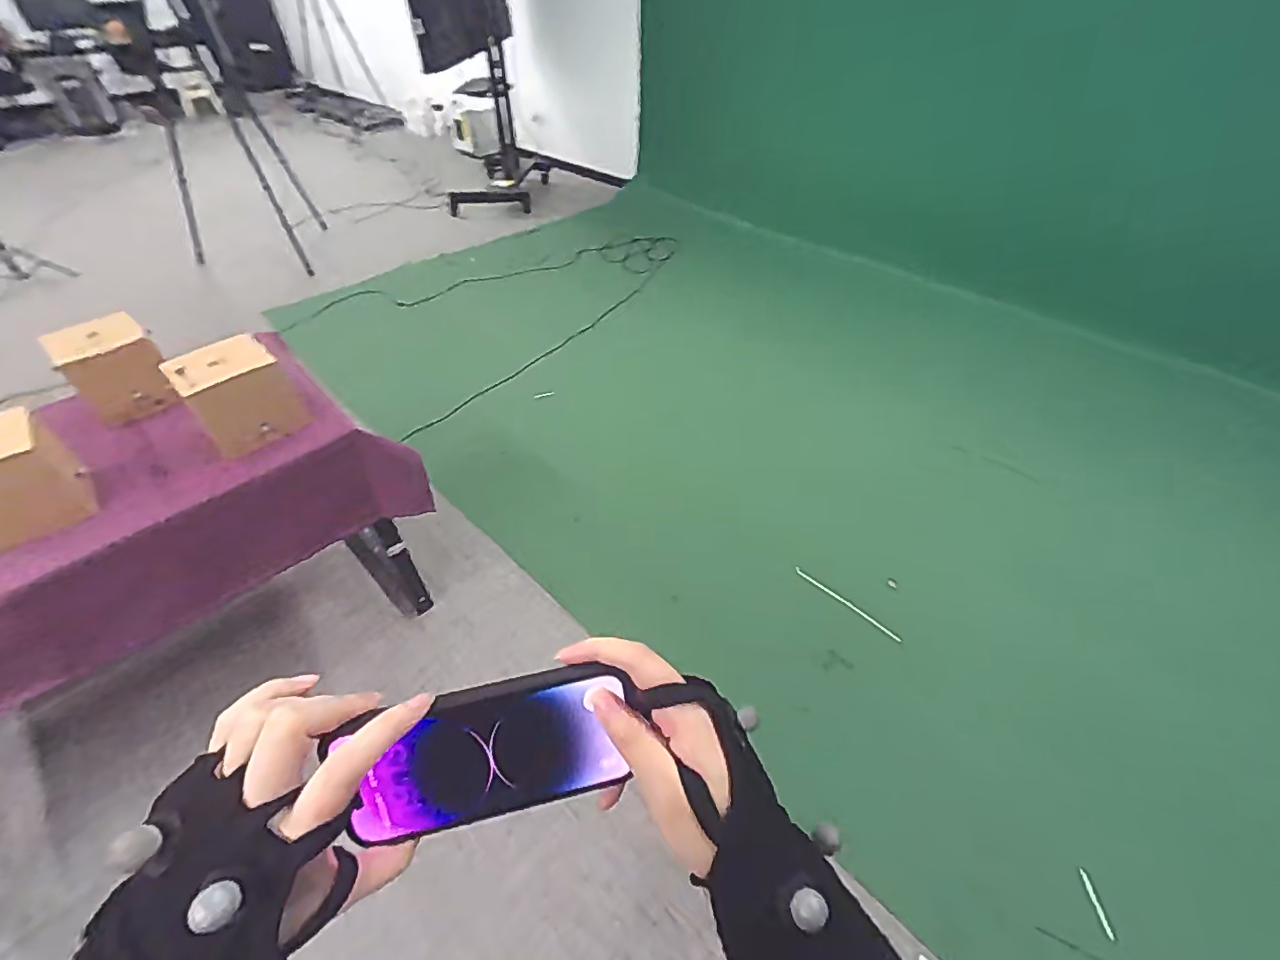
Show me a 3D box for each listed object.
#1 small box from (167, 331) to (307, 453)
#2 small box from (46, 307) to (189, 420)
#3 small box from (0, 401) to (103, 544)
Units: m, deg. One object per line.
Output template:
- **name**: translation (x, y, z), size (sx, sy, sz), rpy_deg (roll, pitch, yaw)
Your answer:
- **small box**: translation (-0.855, -0.191, 1.168), size (0.168, 0.176, 0.179), rpy_deg (34, 54, 30)
- **small box**: translation (-1.185, -0.266, 1.240), size (0.179, 0.176, 0.168), rpy_deg (34, 54, 28)
- **small box**: translation (-1.147, -0.009, 0.983), size (0.179, 0.176, 0.168), rpy_deg (-31, 53, -29)
